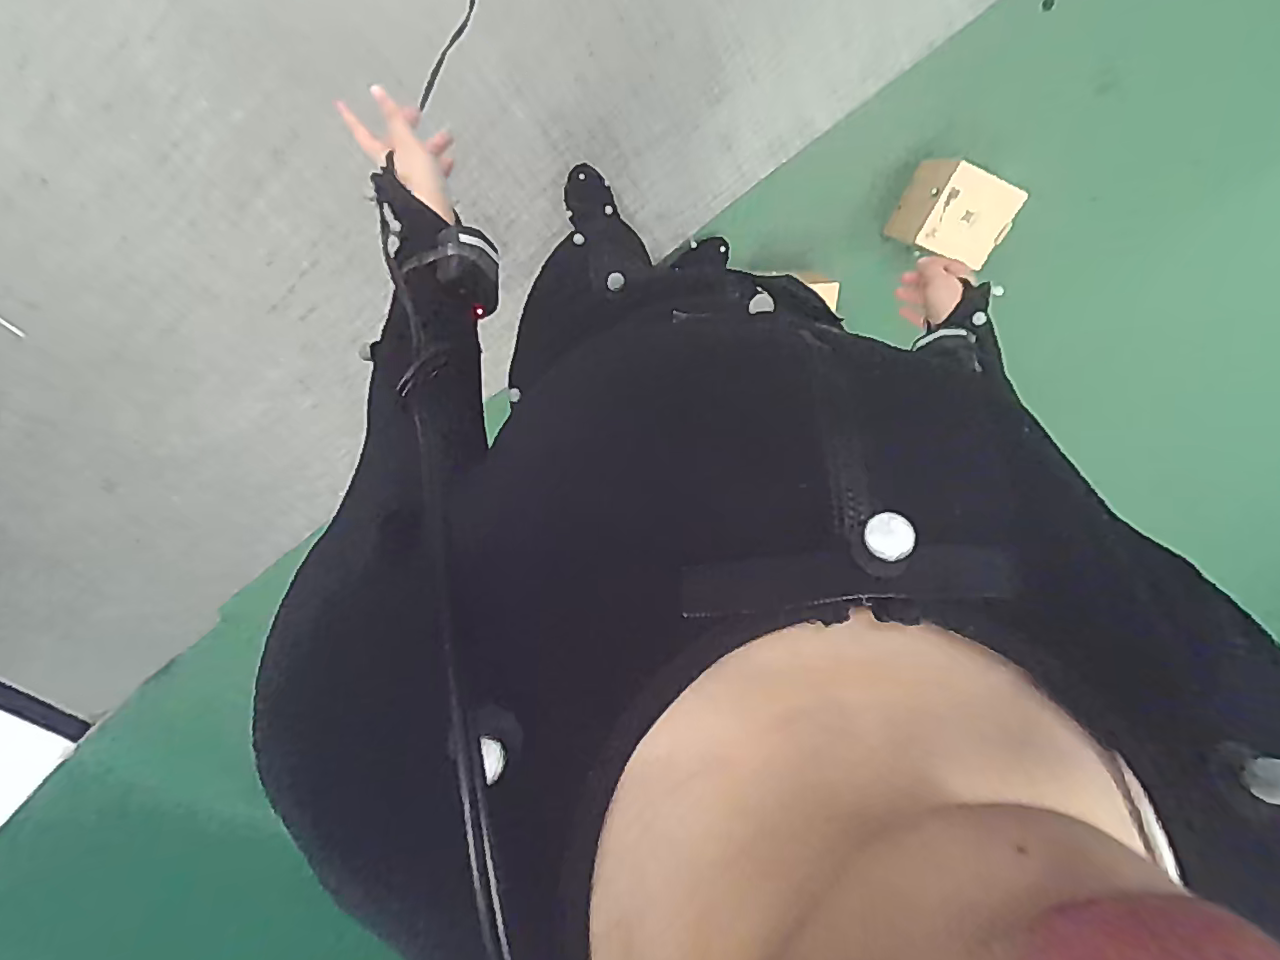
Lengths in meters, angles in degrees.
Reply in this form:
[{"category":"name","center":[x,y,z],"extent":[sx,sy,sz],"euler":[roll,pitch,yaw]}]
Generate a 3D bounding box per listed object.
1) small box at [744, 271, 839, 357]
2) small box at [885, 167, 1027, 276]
[{"category":"small box","center":[0.353,-0.401,1.303],"extent":[0.179,0.176,0.168],"euler":[-2,122,-1]},{"category":"small box","center":[0.693,-0.581,1.208],"extent":[0.179,0.176,0.168],"euler":[18,118,-13]}]
